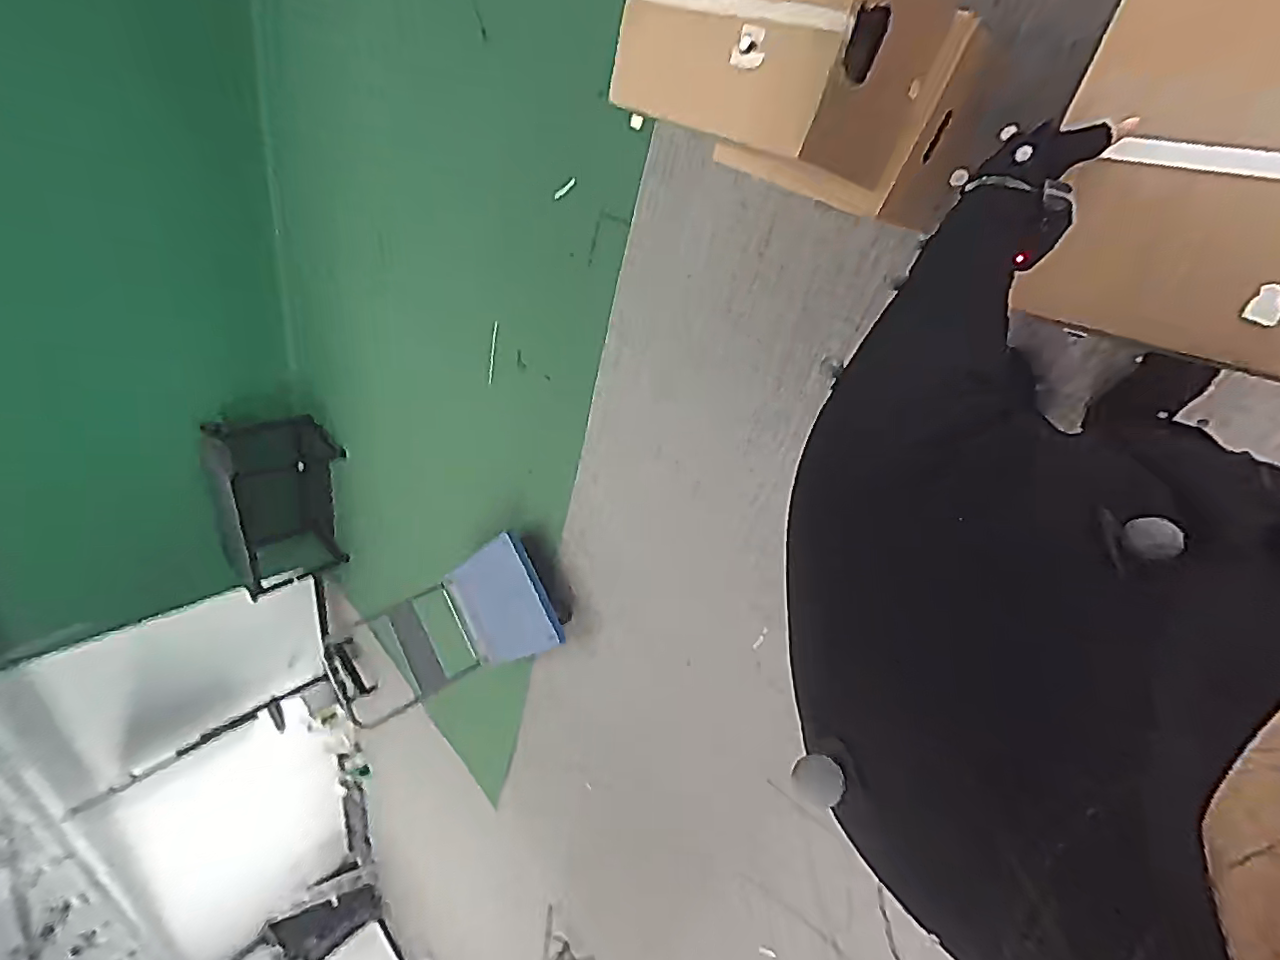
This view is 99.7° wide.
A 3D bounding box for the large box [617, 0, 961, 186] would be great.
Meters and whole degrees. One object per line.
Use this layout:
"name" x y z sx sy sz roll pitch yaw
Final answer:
"large box" 0.236 -0.730 0.897 0.408 0.320 0.320 37 125 27
